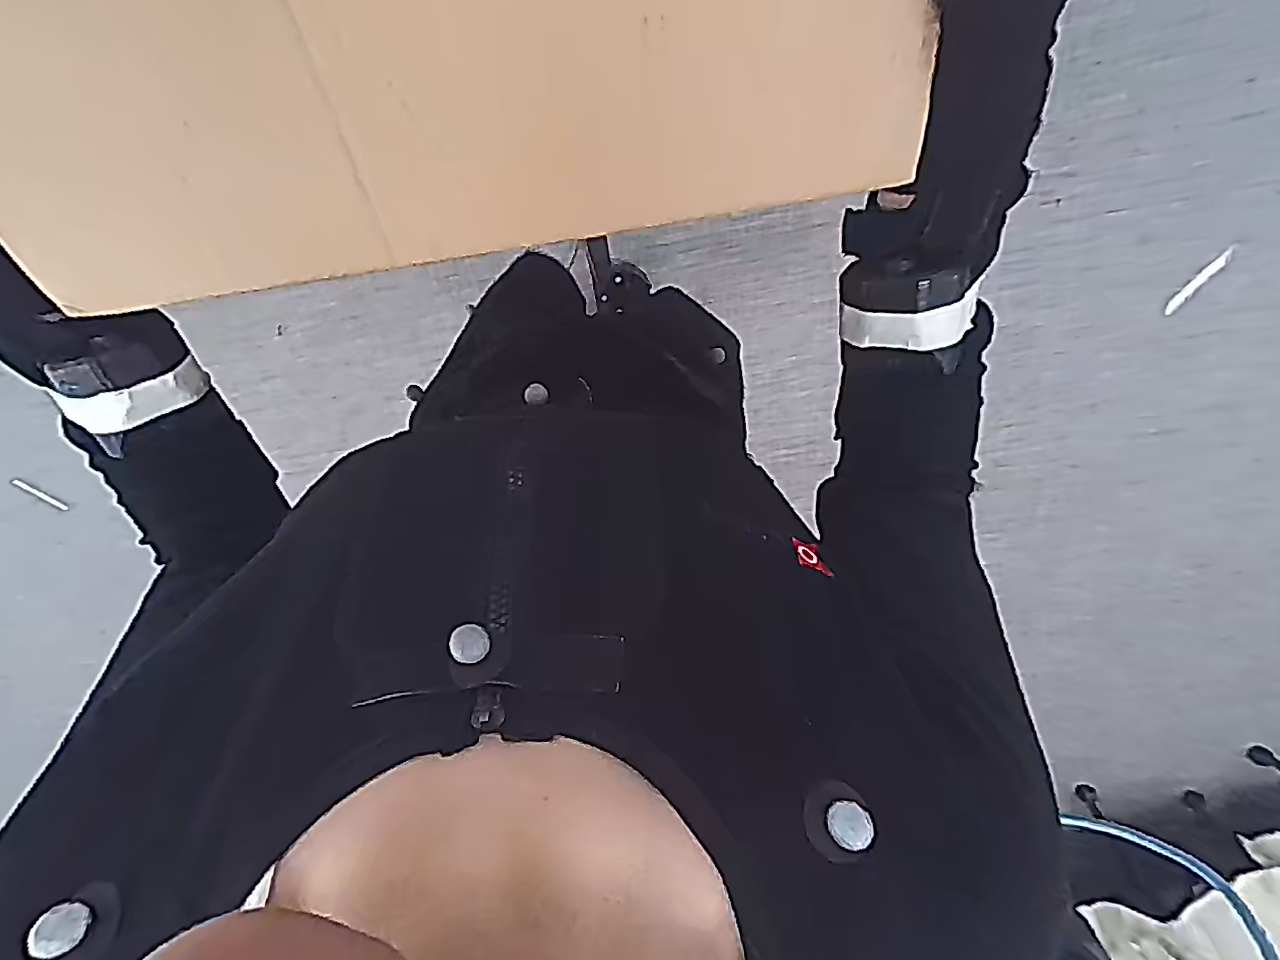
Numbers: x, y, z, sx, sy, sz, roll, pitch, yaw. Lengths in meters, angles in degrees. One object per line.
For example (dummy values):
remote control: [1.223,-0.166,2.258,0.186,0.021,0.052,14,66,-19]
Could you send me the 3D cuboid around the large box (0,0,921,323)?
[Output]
large box: [-0.104,-0.320,0.280,0.408,0.320,0.320,-8,129,3]
